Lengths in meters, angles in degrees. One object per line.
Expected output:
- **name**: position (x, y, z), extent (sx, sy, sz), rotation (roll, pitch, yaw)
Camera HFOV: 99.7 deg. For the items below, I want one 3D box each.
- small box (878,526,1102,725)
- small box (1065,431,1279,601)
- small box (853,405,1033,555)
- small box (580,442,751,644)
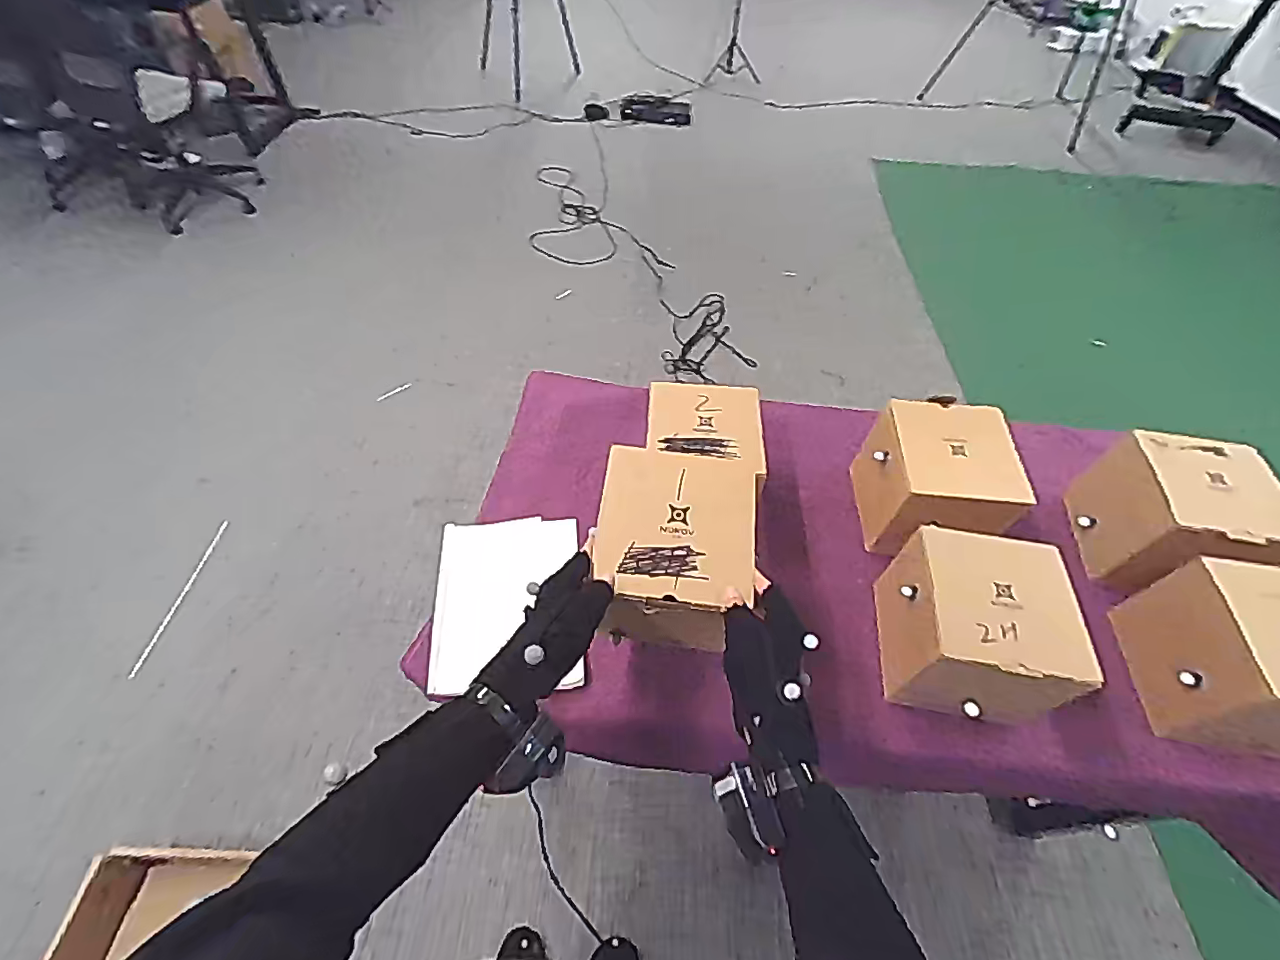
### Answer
- **small box**: position (0.418, 0.186, 0.687), extent (0.168, 0.176, 0.179), rotation (9, 52, 6)
- **small box**: position (0.780, 0.058, 0.797), extent (0.168, 0.176, 0.179), rotation (11, 53, 6)
- **small box**: position (0.445, 0.009, 0.829), extent (0.168, 0.176, 0.179), rotation (5, 52, 2)
- **small box**: position (0.030, 0.080, 0.628), extent (0.168, 0.176, 0.179), rotation (7, 60, 1)
